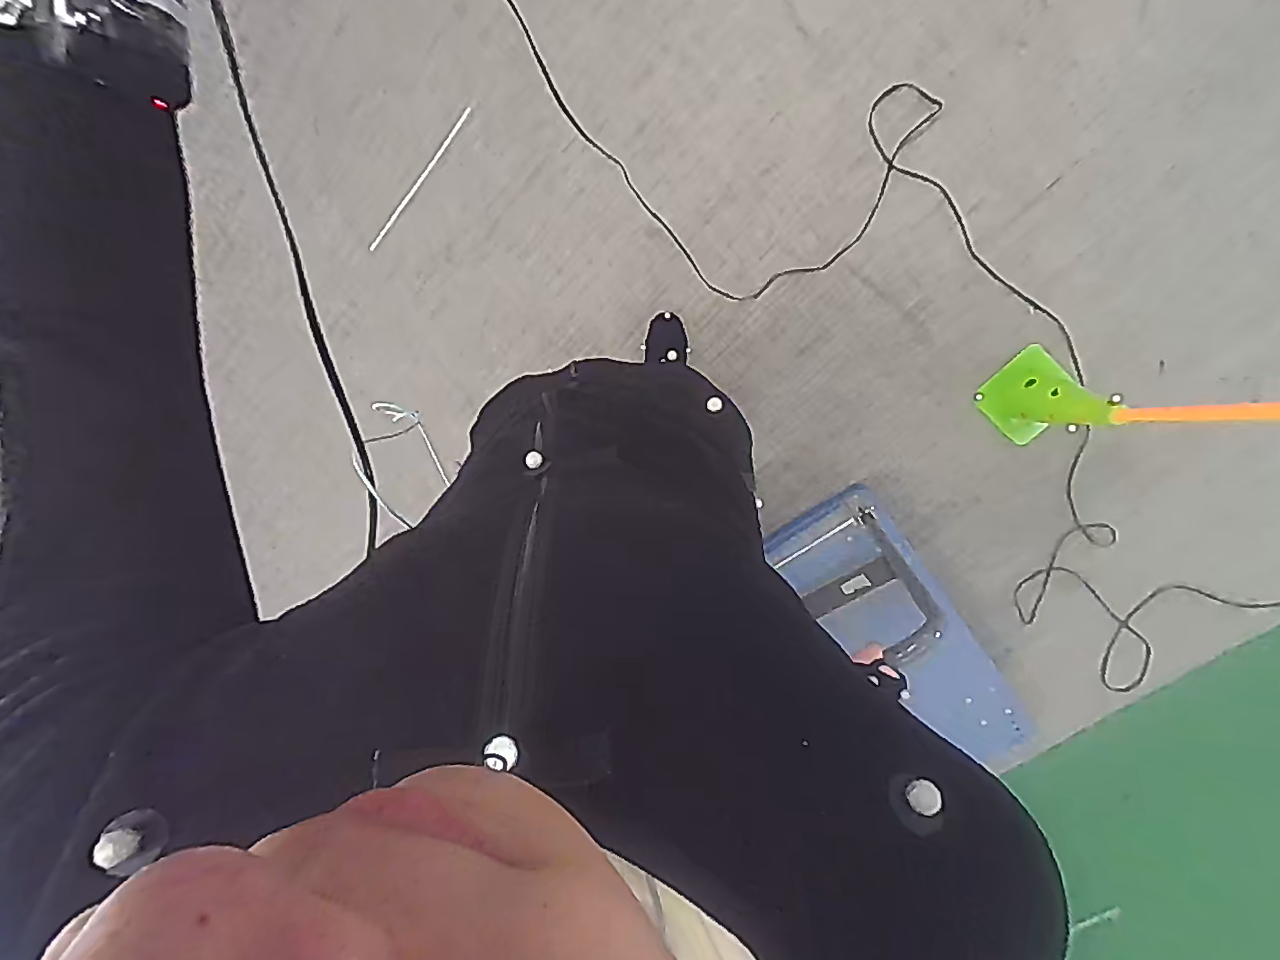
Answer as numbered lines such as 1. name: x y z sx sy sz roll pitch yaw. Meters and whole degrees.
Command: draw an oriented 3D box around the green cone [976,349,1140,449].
1. green cone: 0.986 -0.164 1.237 0.200 0.368 0.202 42 106 -4
